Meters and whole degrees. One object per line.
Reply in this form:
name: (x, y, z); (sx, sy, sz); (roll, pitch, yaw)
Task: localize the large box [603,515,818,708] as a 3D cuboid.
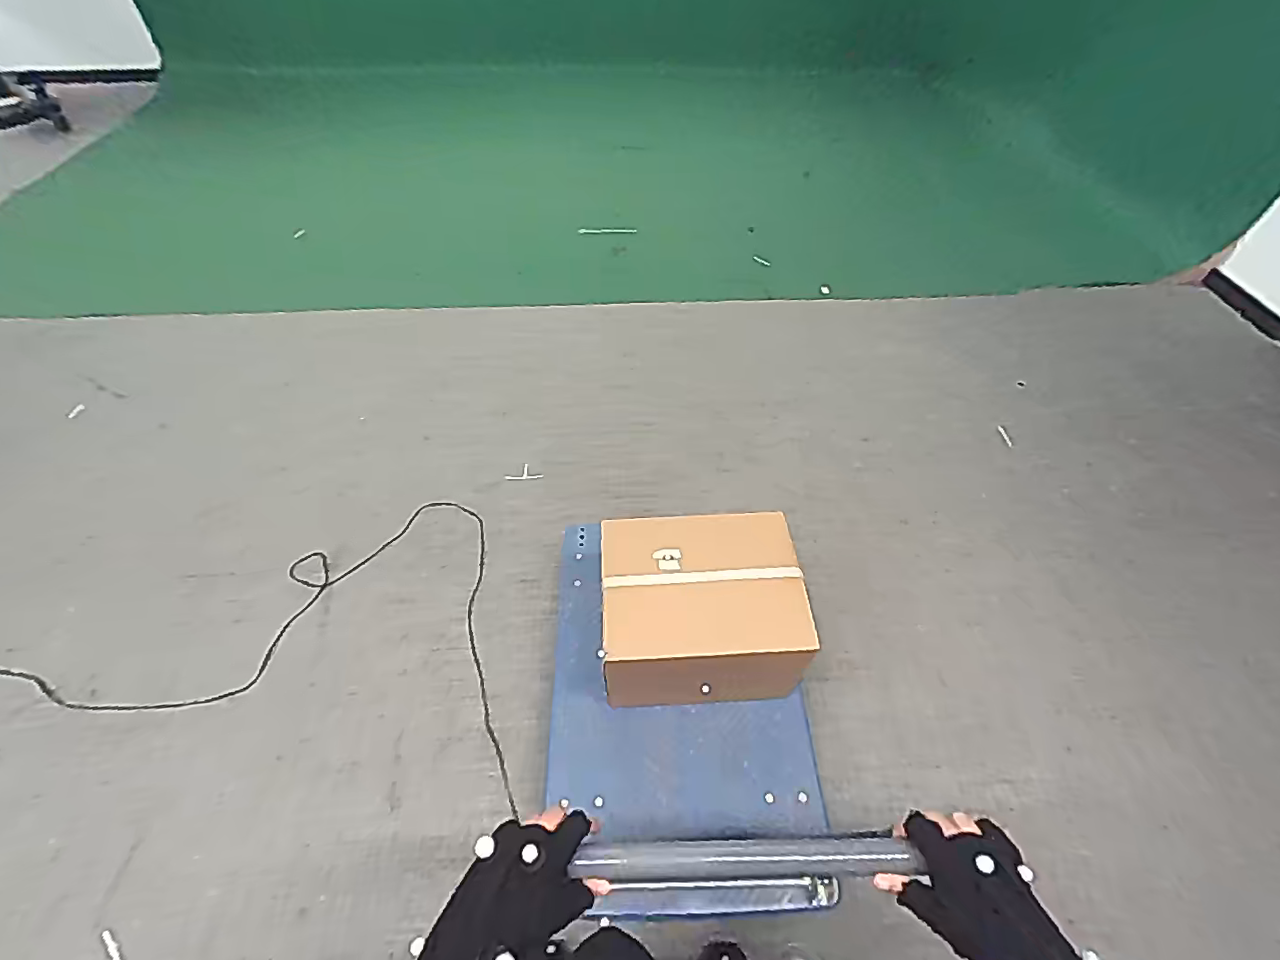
large box: (0.130, 0.301, 1.212); (0.408, 0.320, 0.320); (-3, 51, -2)
